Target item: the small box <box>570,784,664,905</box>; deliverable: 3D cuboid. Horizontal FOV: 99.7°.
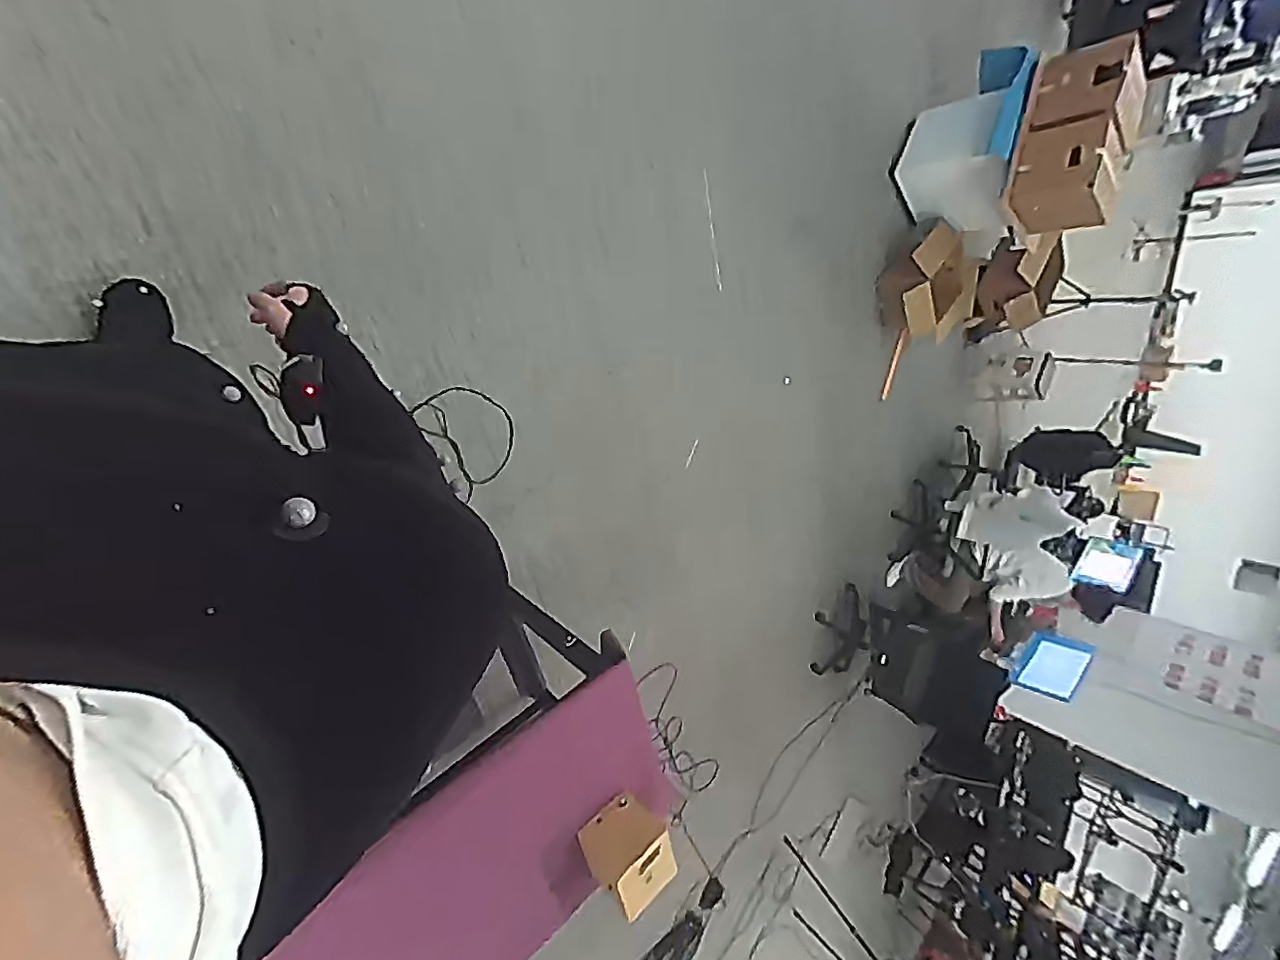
[{"bbox_3d":[-0.062,0.940,1.419,0.168,0.176,0.179,-28,120,-33],"label":"small box"}]
